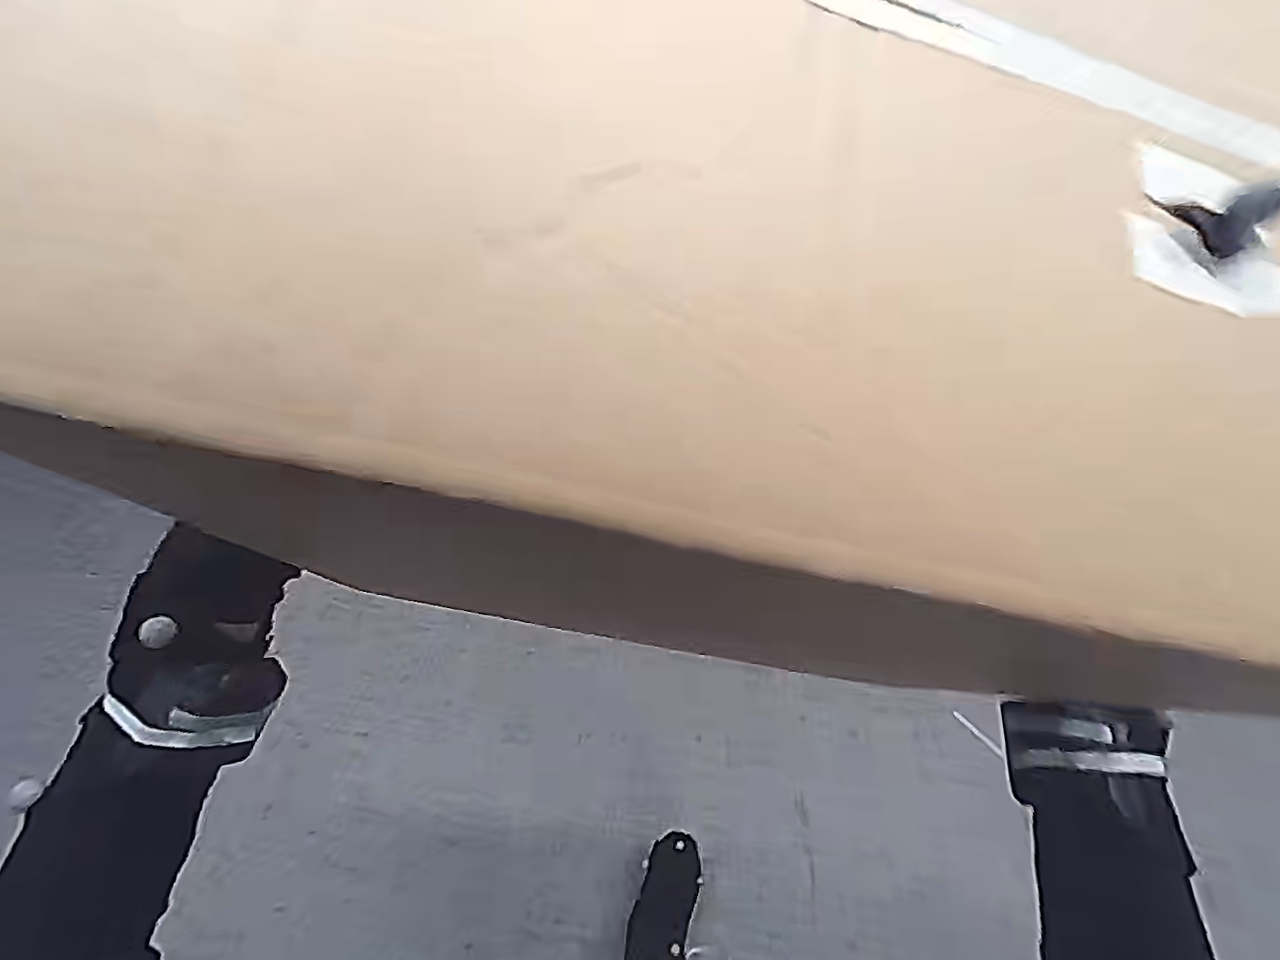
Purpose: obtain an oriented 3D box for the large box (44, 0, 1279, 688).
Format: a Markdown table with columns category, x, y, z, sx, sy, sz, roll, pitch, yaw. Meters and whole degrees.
| category | x | y | z | sx | sy | sz | roll | pitch | yaw |
| --- | --- | --- | --- | --- | --- | --- | --- | --- | --- |
| large box | 0.070 | -0.072 | 0.316 | 0.408 | 0.320 | 0.320 | 14 | 70 | -10 |
